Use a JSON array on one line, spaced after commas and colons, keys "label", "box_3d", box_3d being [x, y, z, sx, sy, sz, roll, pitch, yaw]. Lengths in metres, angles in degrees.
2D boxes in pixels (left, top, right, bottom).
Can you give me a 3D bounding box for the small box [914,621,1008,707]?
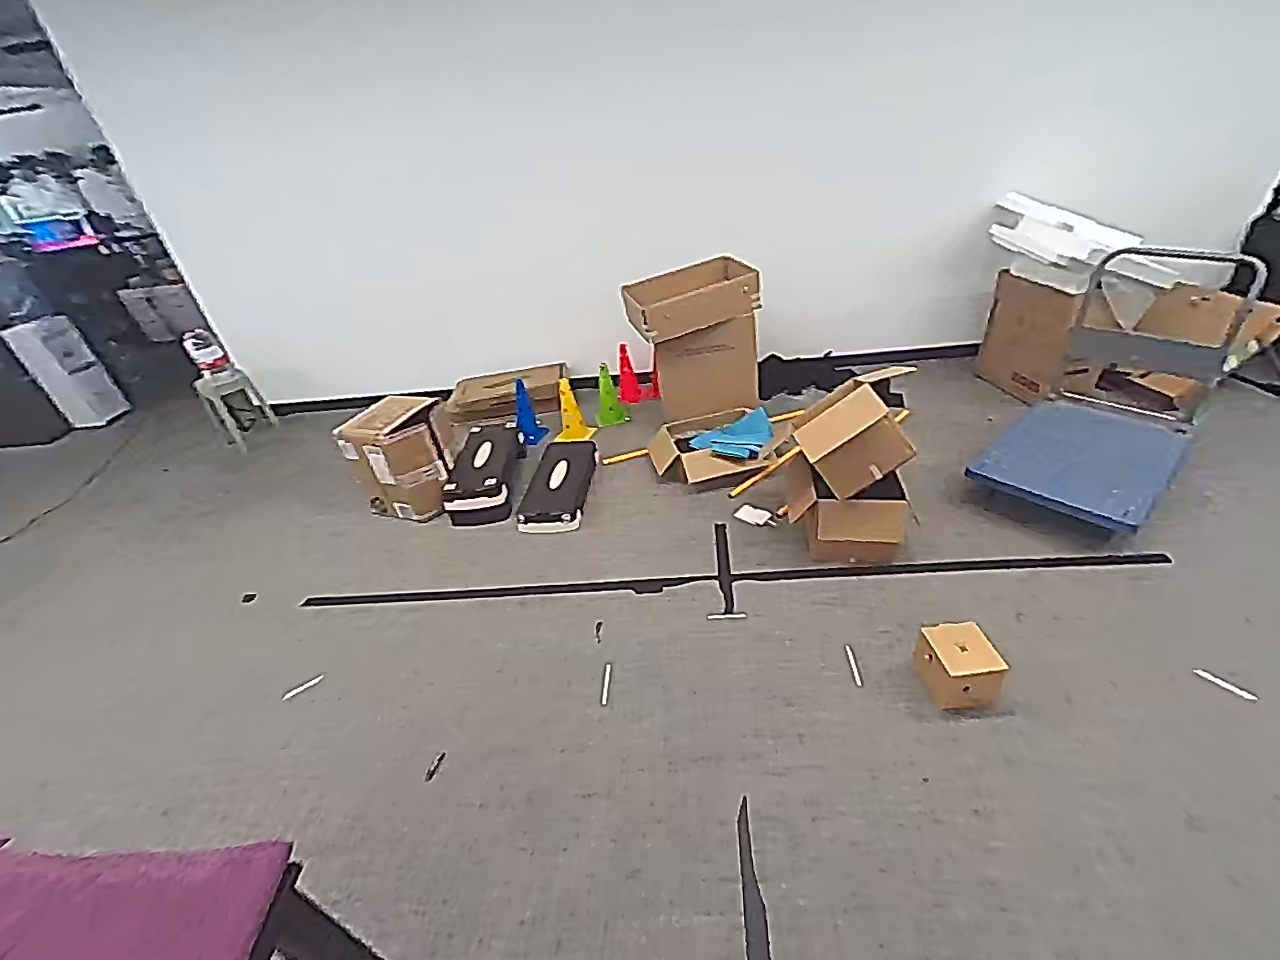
[{"label": "small box", "box_3d": [0.944, 0.552, 1.605, 0.168, 0.176, 0.179, -8, 33, 0]}]
